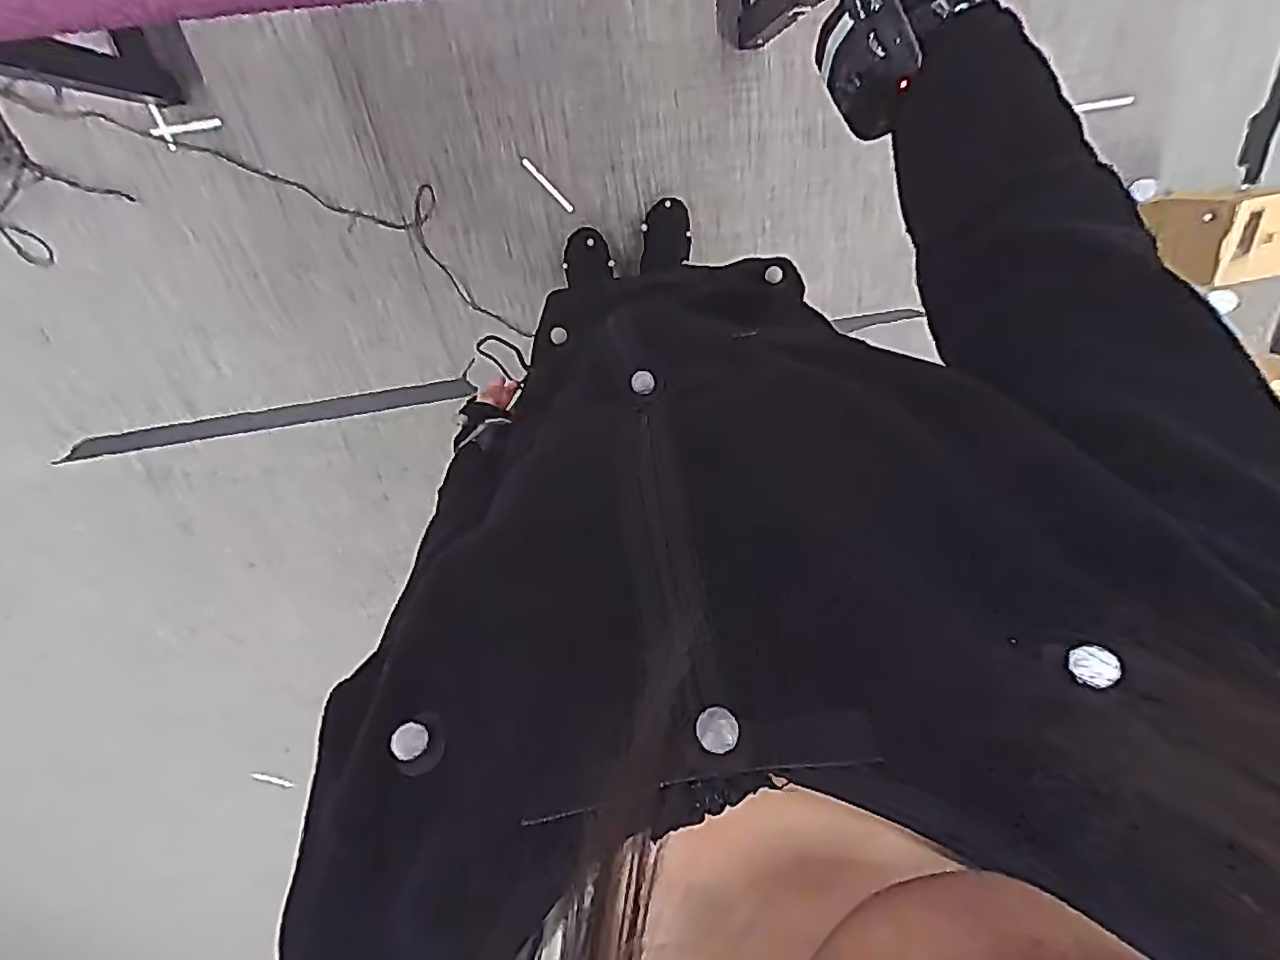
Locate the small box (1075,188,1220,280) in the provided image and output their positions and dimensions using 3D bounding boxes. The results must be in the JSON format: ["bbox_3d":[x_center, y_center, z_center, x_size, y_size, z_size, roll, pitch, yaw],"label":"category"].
[{"bbox_3d":[1.205,-0.594,1.301,0.168,0.176,0.179,-10,120,-3],"label":"small box"}]
